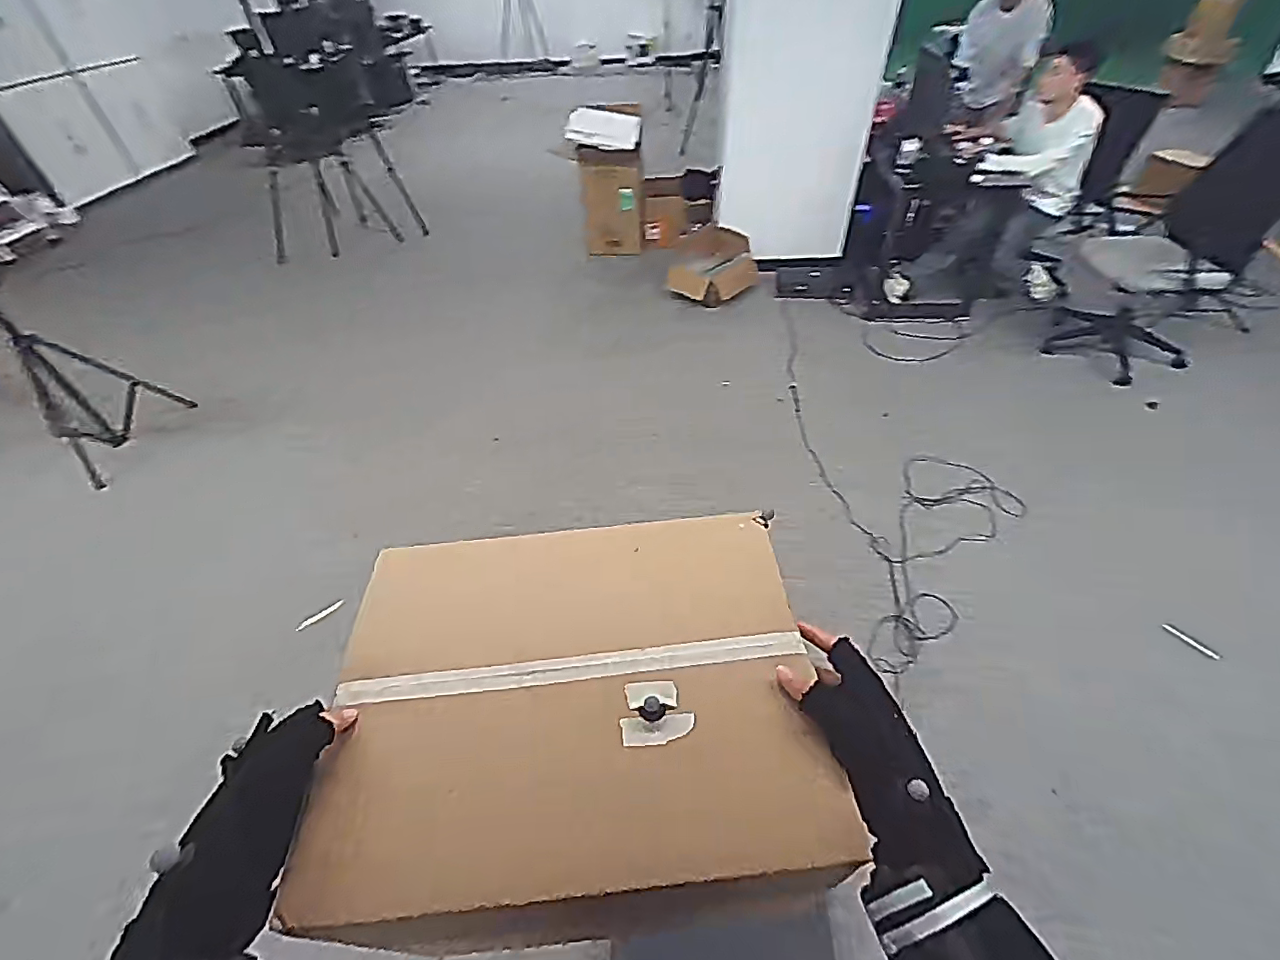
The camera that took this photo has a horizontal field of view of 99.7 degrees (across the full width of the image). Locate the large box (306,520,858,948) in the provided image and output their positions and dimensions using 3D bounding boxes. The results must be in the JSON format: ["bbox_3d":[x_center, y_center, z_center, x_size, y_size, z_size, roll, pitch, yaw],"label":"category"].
[{"bbox_3d":[-0.045,0.275,0.590,0.408,0.320,0.320,-5,46,-1],"label":"large box"}]
